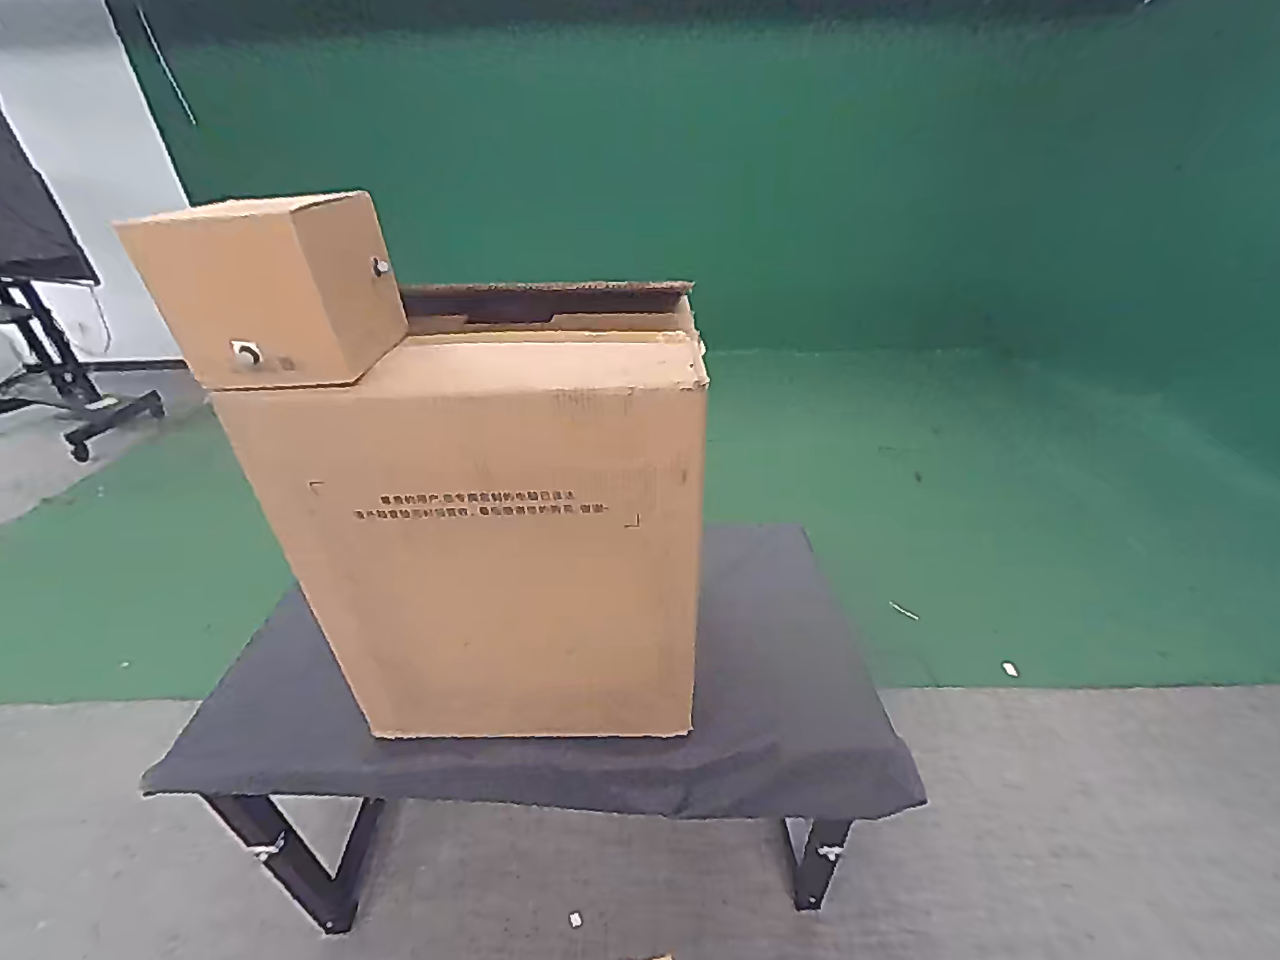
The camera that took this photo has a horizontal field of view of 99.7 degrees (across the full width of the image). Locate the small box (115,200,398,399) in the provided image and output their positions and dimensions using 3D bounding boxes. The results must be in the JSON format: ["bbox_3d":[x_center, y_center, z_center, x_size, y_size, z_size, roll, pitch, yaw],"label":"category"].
[{"bbox_3d":[-0.391,-0.203,0.598,0.168,0.176,0.179,-5,34,0],"label":"small box"}]
